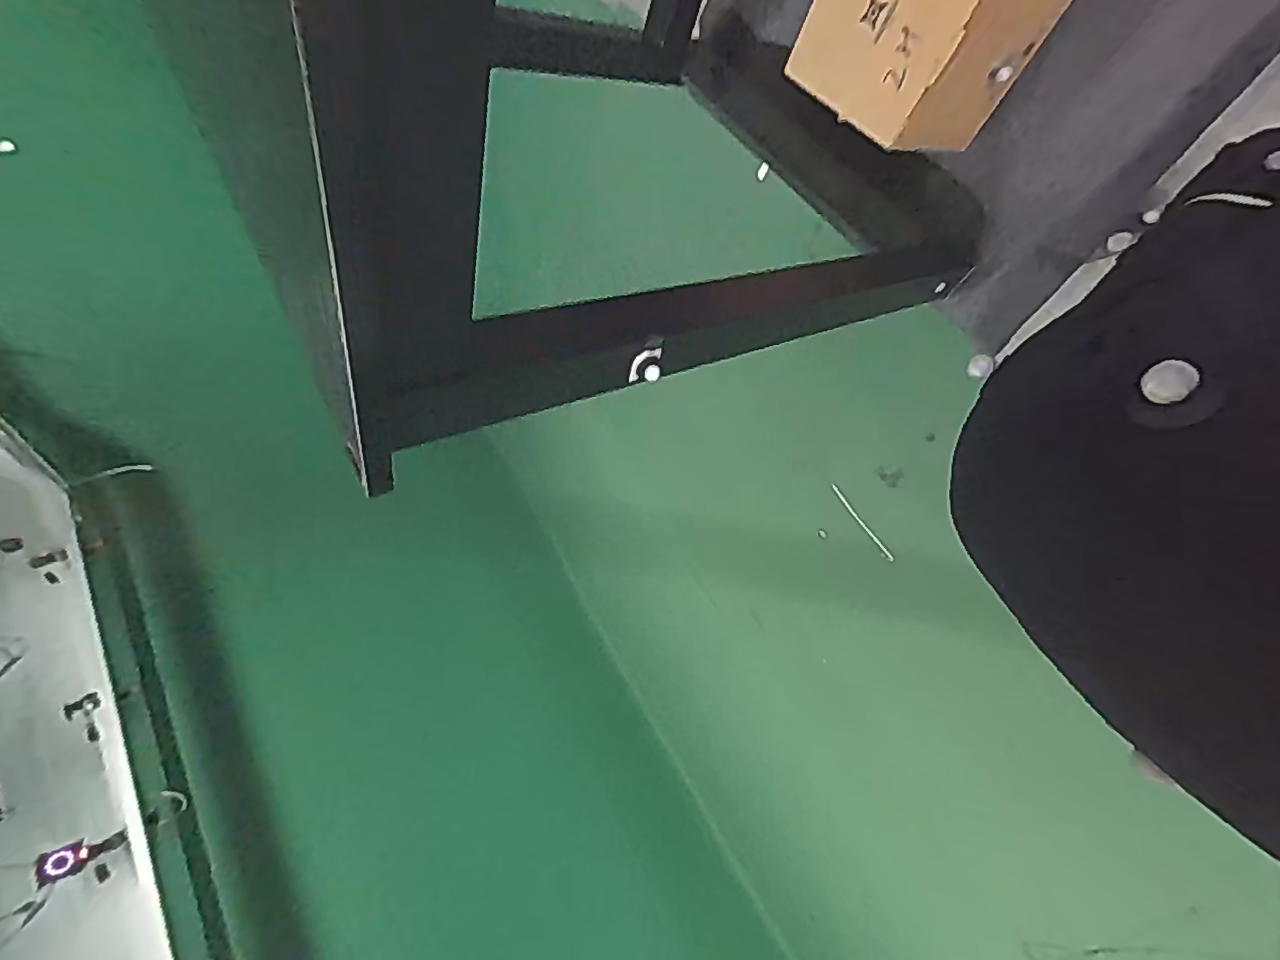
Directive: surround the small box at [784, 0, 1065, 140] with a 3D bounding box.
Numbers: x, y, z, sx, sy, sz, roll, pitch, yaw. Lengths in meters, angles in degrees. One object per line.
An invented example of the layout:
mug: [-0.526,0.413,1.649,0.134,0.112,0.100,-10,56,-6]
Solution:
small box: [0.299,-0.488,0.578,0.179,0.176,0.168,54,146,22]
